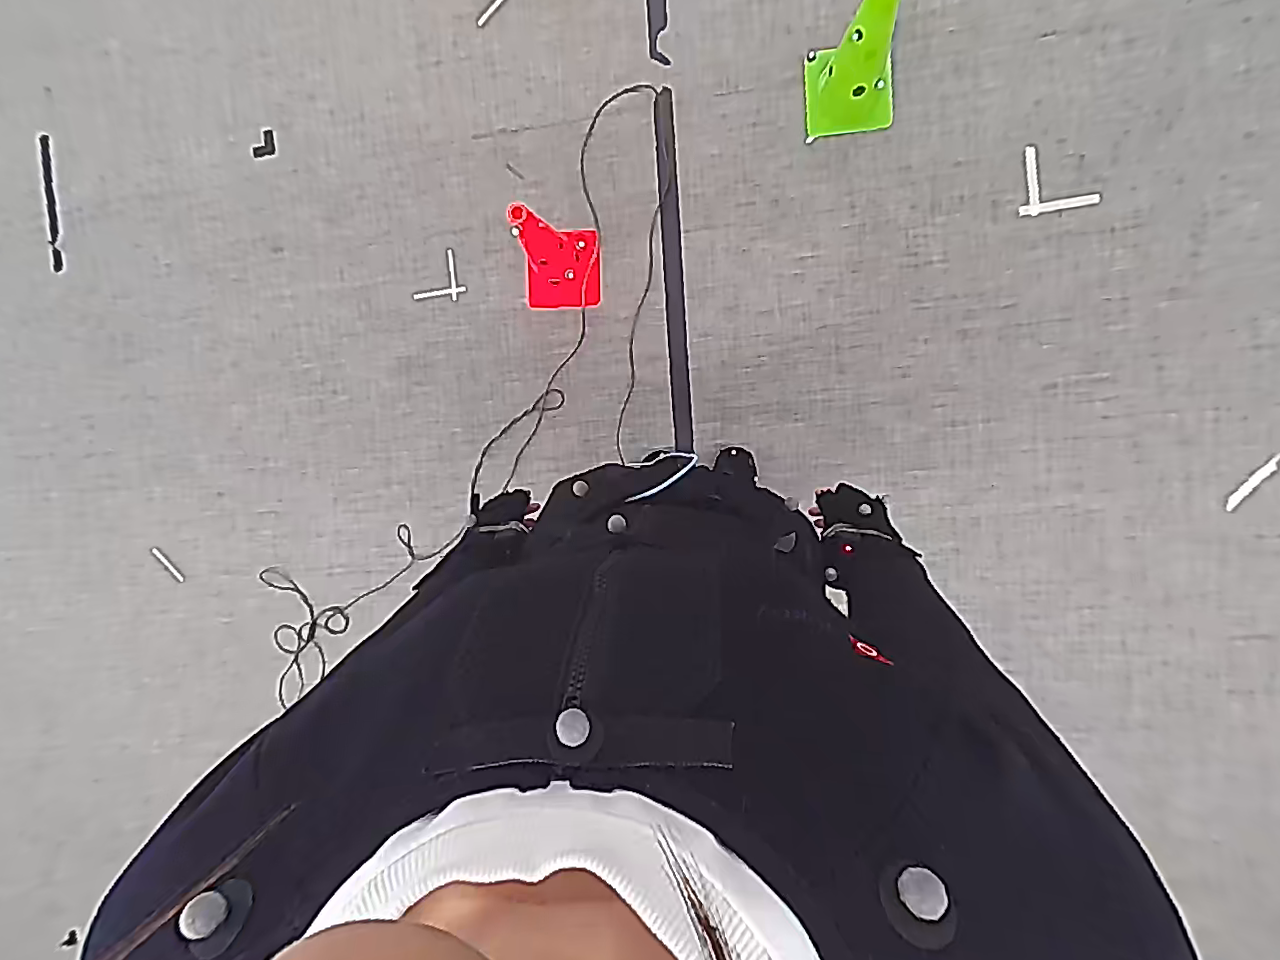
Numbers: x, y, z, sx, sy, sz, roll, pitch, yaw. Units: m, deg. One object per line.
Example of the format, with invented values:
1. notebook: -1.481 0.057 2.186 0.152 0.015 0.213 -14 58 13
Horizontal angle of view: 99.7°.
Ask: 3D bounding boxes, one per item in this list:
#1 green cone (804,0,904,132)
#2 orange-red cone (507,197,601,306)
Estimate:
1. green cone: 0.482 -0.934 1.128 0.202 0.368 0.200 -4 93 7
2. orange-red cone: -0.226 -0.552 1.251 0.199 0.360 0.198 1 92 9
